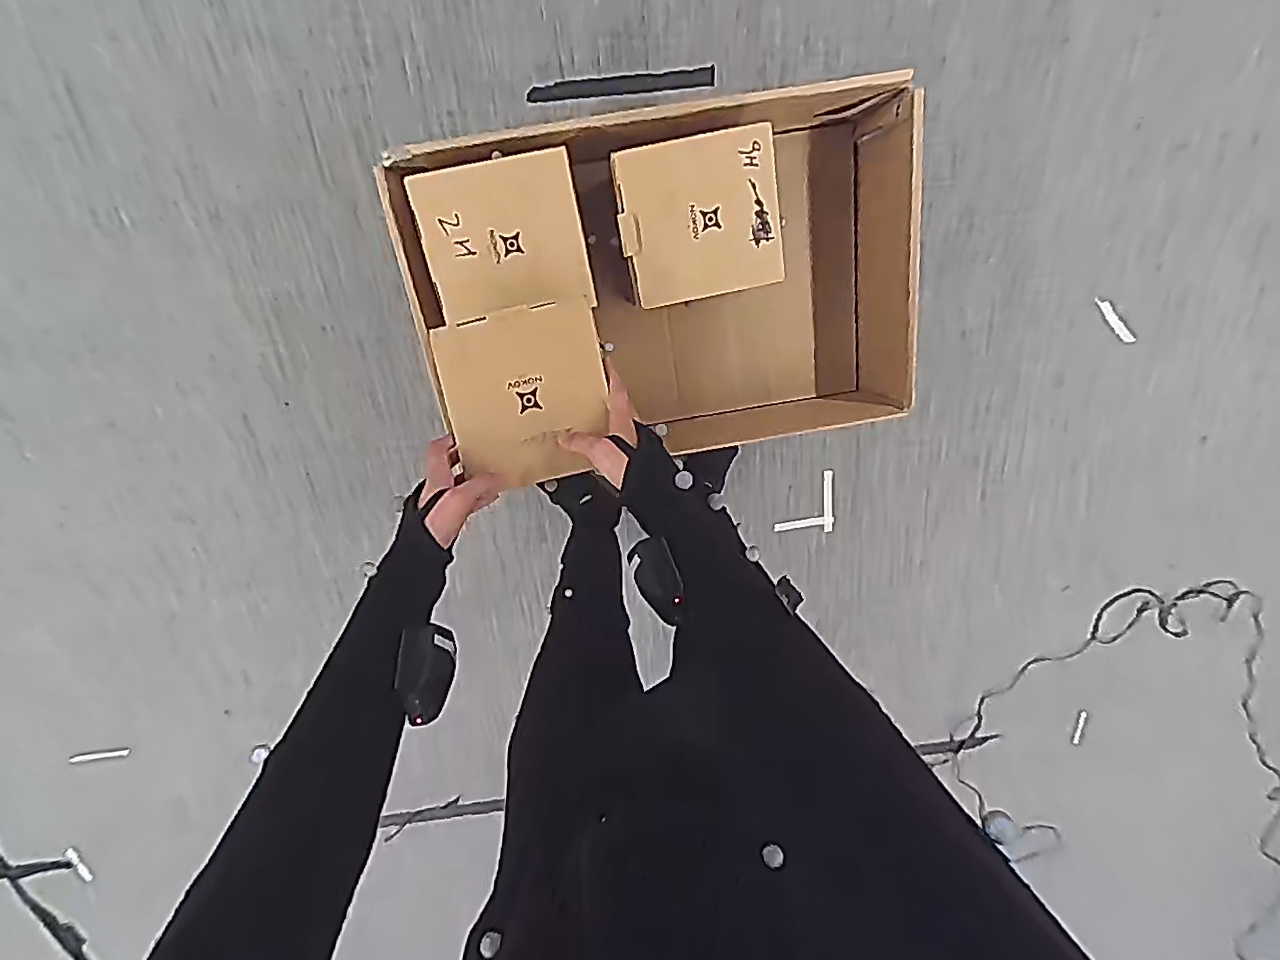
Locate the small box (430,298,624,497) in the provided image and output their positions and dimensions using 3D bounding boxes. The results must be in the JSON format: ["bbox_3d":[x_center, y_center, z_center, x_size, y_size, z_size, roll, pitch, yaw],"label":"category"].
[{"bbox_3d":[-0.117,-0.087,0.626,0.168,0.176,0.179,-13,94,-1],"label":"small box"}]
